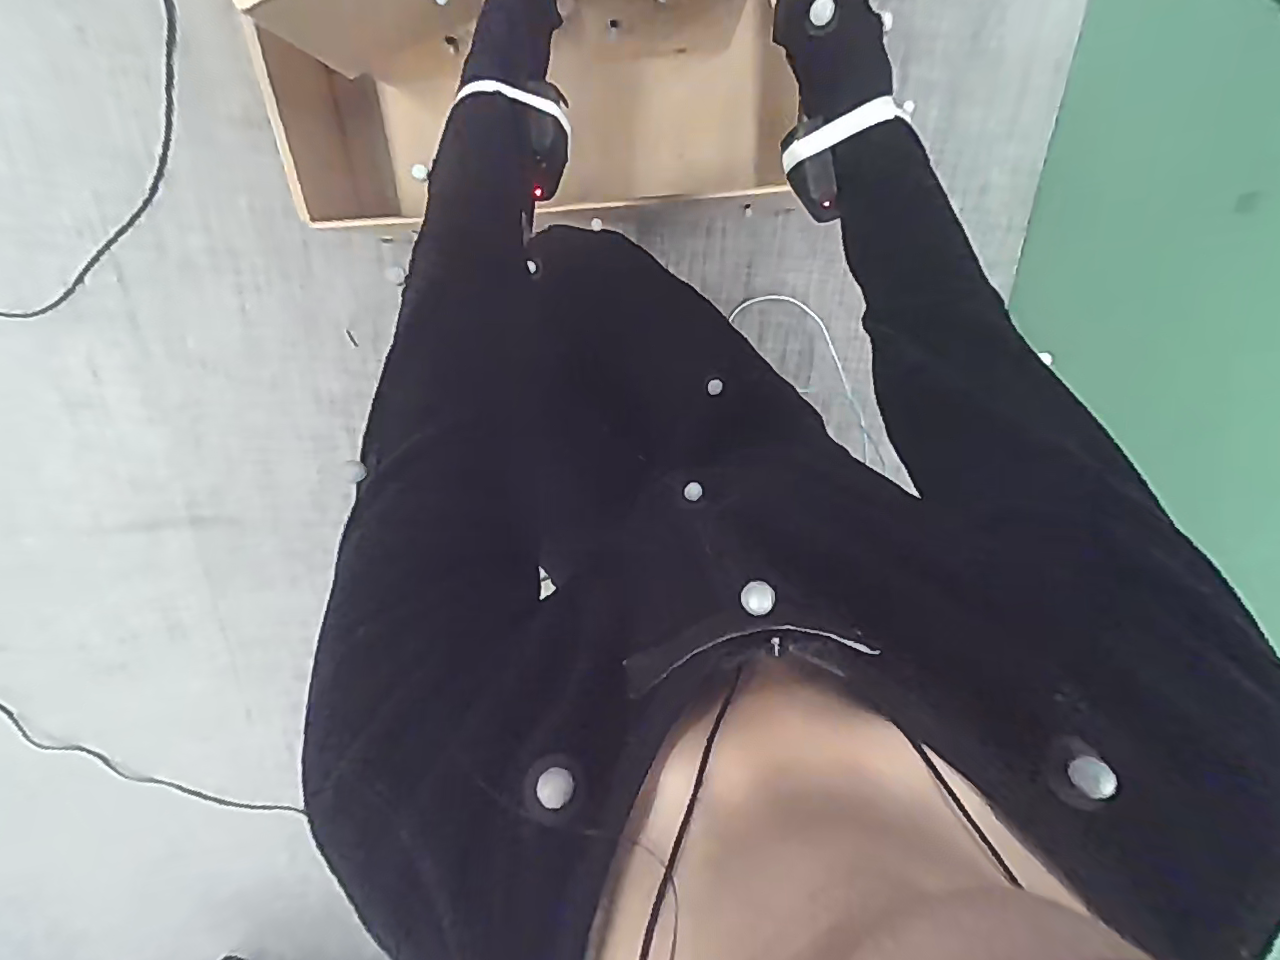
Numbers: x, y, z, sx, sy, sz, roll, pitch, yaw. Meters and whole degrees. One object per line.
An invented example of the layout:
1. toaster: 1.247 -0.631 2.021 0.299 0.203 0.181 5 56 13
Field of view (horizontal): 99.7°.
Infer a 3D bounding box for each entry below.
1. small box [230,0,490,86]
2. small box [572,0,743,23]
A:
1. small box: -0.238 -0.459 0.433 0.179 0.176 0.168 -18 111 7
2. small box: 0.012 -0.491 0.413 0.168 0.176 0.179 -1 113 2
